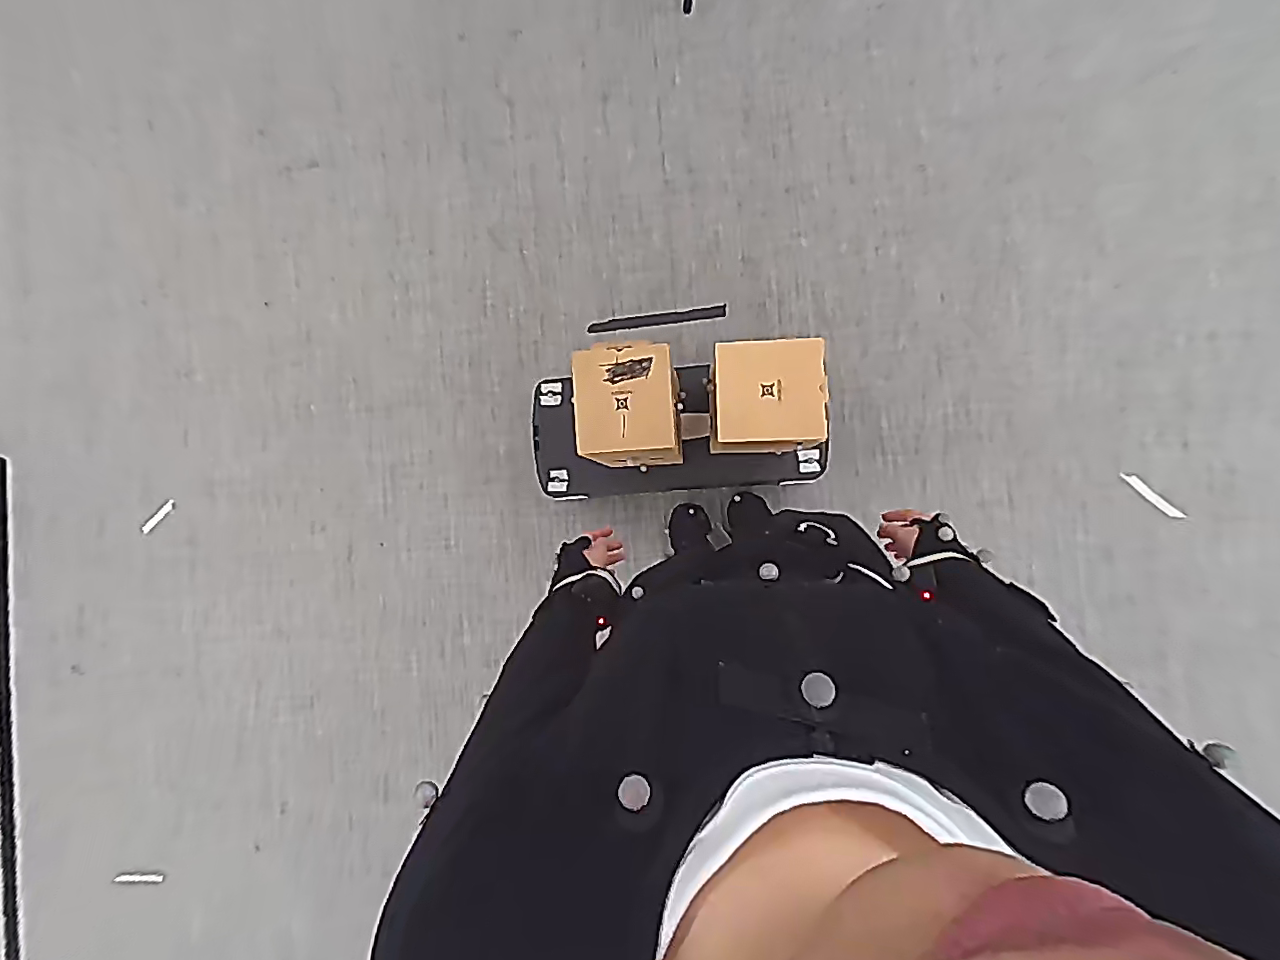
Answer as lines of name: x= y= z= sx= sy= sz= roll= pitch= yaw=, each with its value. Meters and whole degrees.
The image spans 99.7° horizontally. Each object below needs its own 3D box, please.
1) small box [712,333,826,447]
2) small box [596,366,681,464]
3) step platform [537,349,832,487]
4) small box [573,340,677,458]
small box: x=0.216 y=-0.148 z=0.948 sx=0.179 sy=0.176 sz=0.168 roll=-2 pitch=88 yaw=5
small box: x=-0.001 y=-0.130 z=1.135 sx=0.168 sy=0.176 sz=0.179 roll=-3 pitch=88 yaw=6
step platform: x=0.099 y=-0.149 z=1.299 sx=0.684 sy=0.204 sz=0.286 roll=-5 pitch=88 yaw=7
small box: x=-0.021 y=-0.137 z=0.972 sx=0.168 sy=0.176 sz=0.179 roll=-3 pitch=88 yaw=6
